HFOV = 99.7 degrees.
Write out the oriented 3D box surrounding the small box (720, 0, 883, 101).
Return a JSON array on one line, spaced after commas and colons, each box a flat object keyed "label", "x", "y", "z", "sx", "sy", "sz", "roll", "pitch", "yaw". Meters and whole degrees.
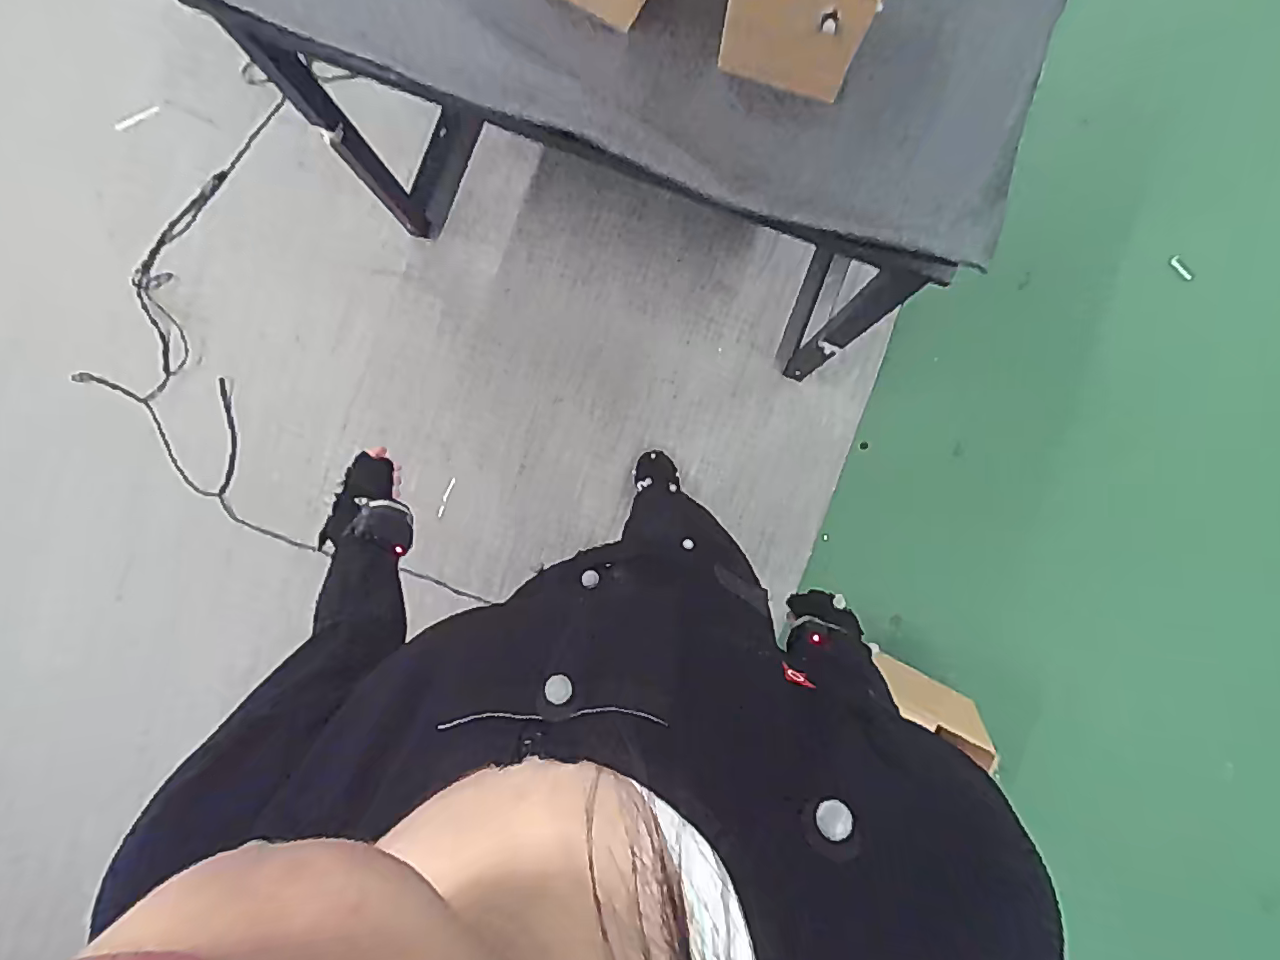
[{"label": "small box", "x": 0.218, "y": -0.639, "z": 0.698, "sx": 0.179, "sy": 0.176, "sz": 0.168, "roll": 18, "pitch": 88, "yaw": 1}]
